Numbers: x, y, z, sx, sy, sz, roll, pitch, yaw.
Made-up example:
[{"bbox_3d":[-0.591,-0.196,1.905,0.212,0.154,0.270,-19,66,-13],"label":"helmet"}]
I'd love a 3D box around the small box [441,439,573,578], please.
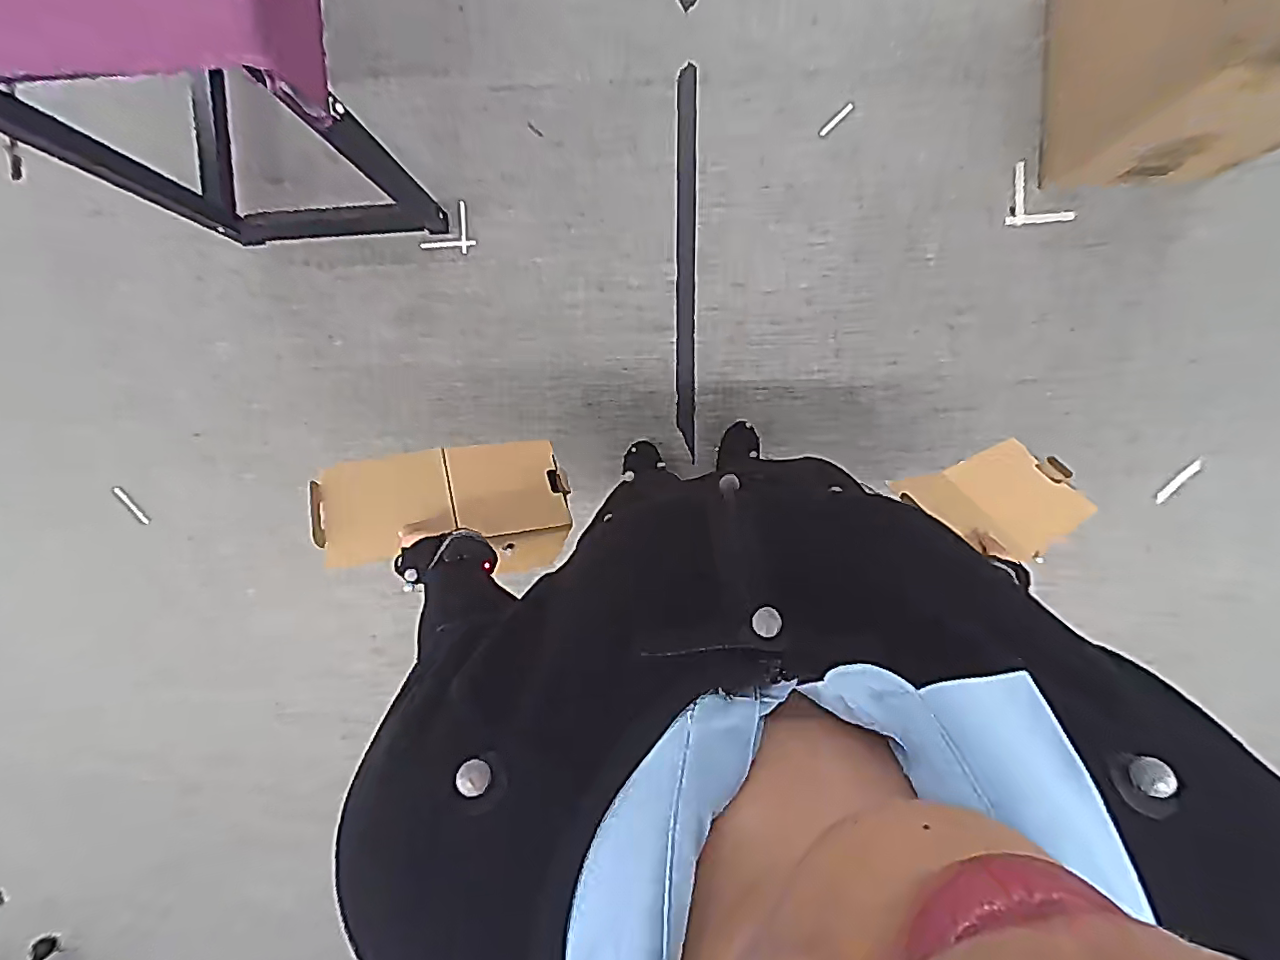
[{"bbox_3d":[-0.229,0.050,0.897,0.179,0.176,0.168,-7,64,-26],"label":"small box"}]
